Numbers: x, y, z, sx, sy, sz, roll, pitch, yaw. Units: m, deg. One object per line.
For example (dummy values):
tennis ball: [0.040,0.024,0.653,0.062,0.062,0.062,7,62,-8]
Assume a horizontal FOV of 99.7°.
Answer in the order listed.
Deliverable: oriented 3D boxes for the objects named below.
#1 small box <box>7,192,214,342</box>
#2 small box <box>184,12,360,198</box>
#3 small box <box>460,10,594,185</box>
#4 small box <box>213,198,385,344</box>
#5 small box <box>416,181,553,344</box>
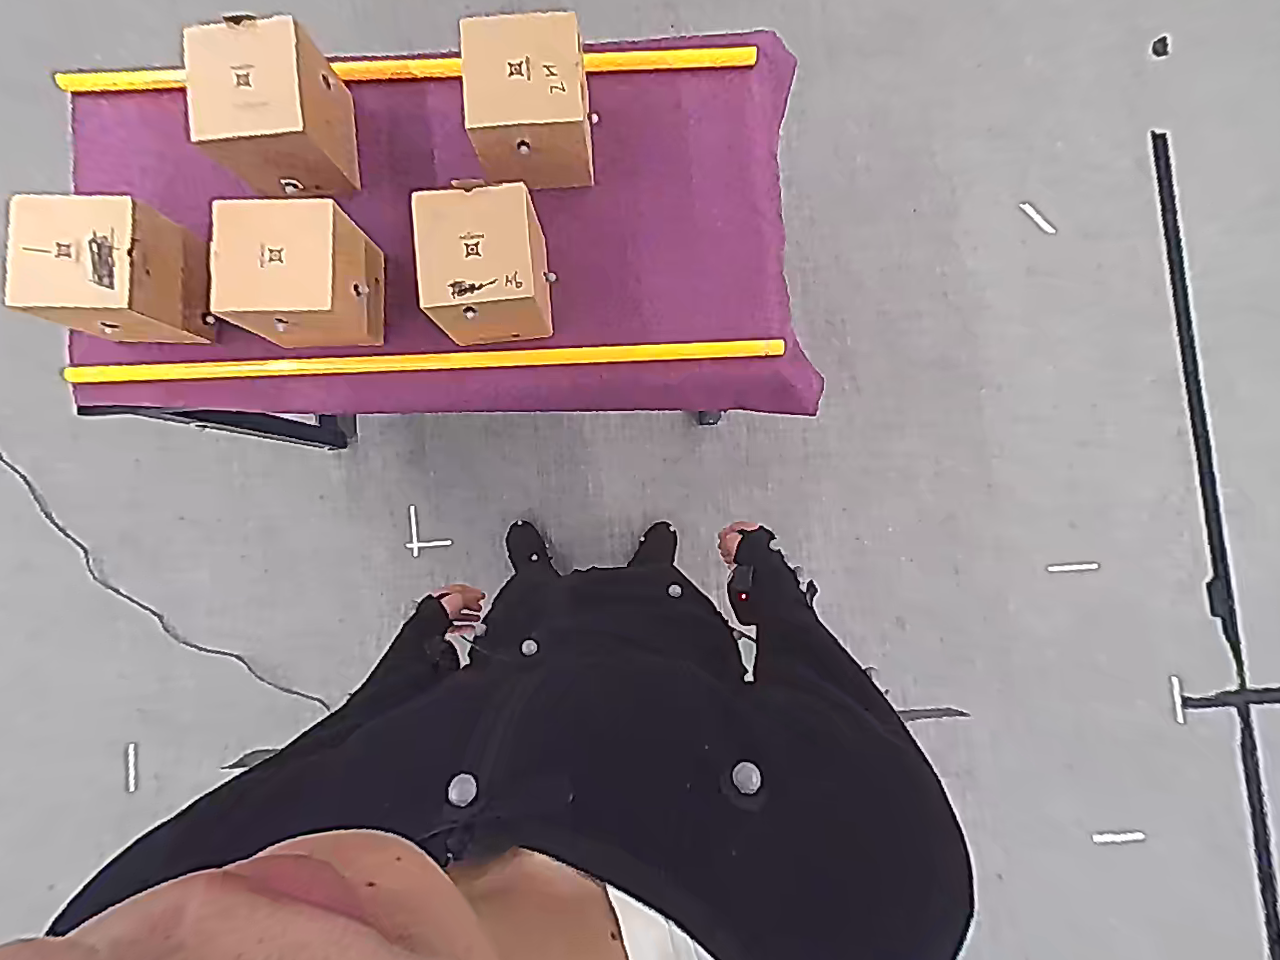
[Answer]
small box: [-0.803,-0.321,0.844,0.179,0.176,0.168,1,87,0]
small box: [-0.572,-0.583,0.860,0.168,0.176,0.179,-6,88,0]
small box: [-0.171,-0.593,0.861,0.179,0.176,0.168,-3,89,0]
small box: [-0.520,-0.318,0.849,0.179,0.176,0.168,-1,87,0]
small box: [-0.235,-0.332,0.849,0.168,0.176,0.179,-6,85,0]
